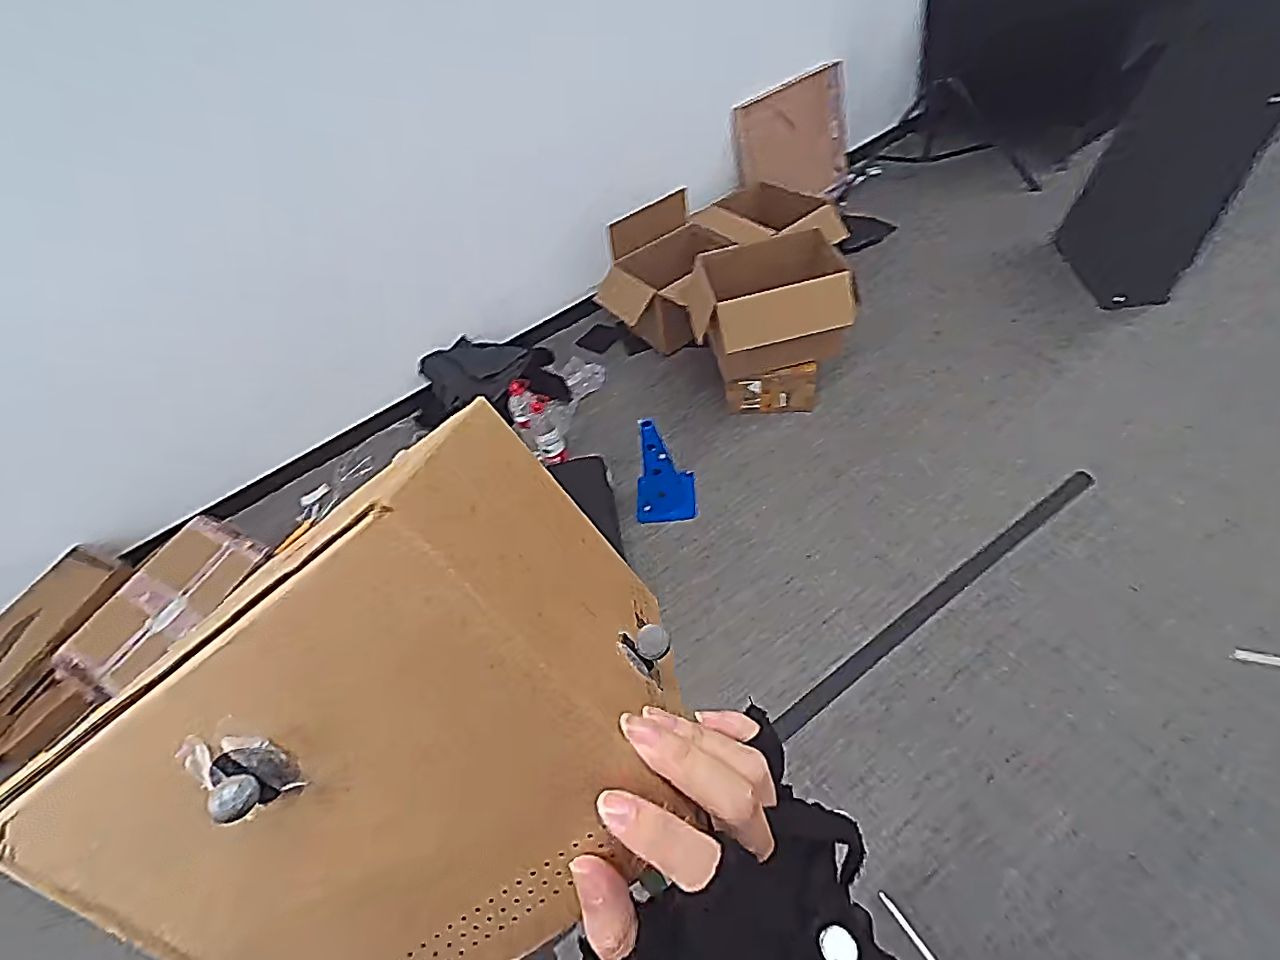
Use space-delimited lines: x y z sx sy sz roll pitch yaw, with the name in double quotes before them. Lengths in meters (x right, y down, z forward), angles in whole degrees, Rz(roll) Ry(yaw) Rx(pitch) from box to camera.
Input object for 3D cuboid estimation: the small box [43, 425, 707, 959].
"small box" -0.094 0.103 0.271 0.179 0.176 0.168 -35 18 6
